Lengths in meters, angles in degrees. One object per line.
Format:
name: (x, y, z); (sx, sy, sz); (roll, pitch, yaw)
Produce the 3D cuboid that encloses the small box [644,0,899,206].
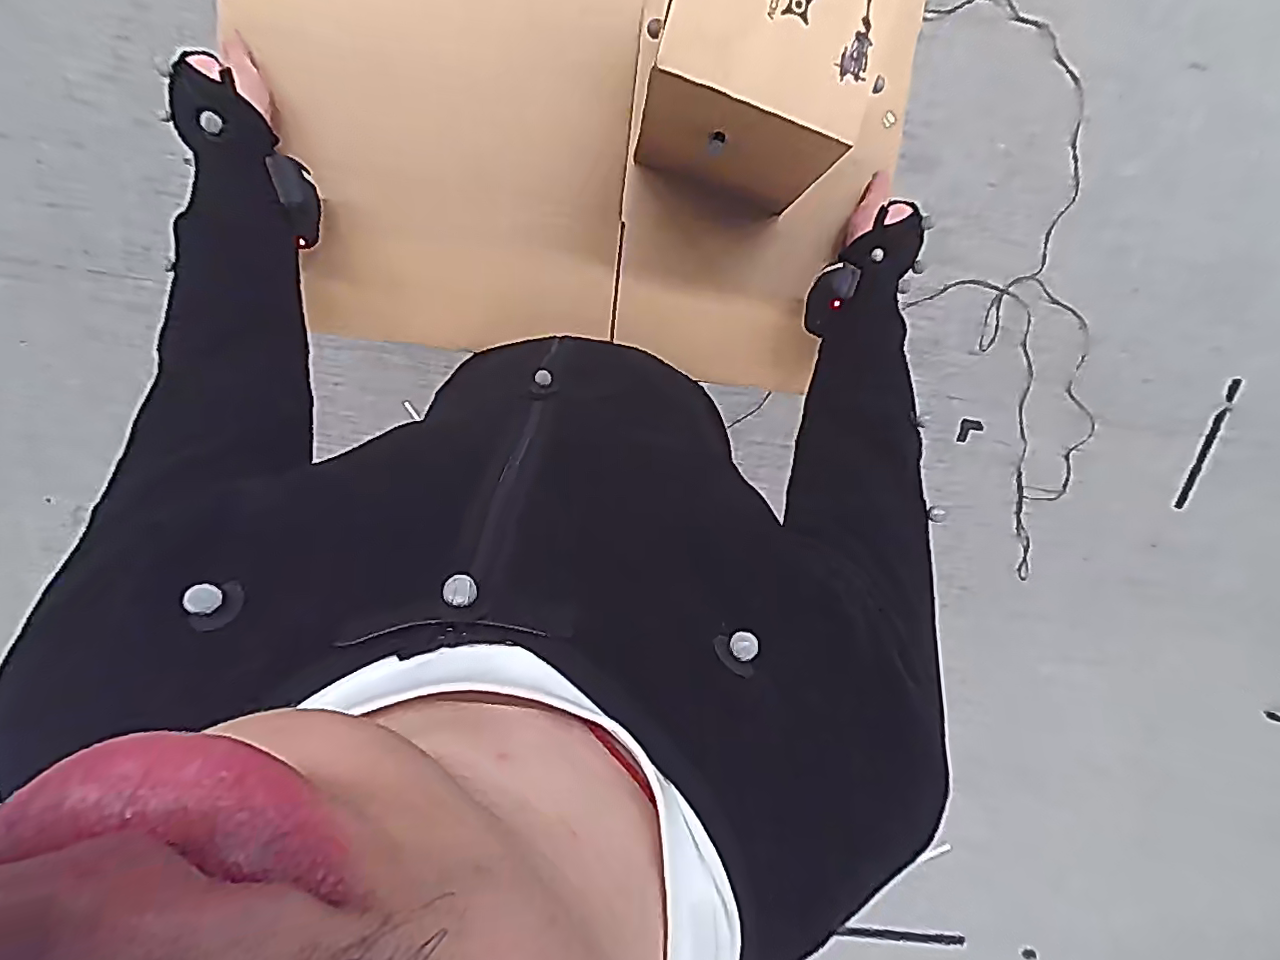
small box: (0.110, -0.387, 0.508); (0.179, 0.176, 0.168); (16, 97, -7)
